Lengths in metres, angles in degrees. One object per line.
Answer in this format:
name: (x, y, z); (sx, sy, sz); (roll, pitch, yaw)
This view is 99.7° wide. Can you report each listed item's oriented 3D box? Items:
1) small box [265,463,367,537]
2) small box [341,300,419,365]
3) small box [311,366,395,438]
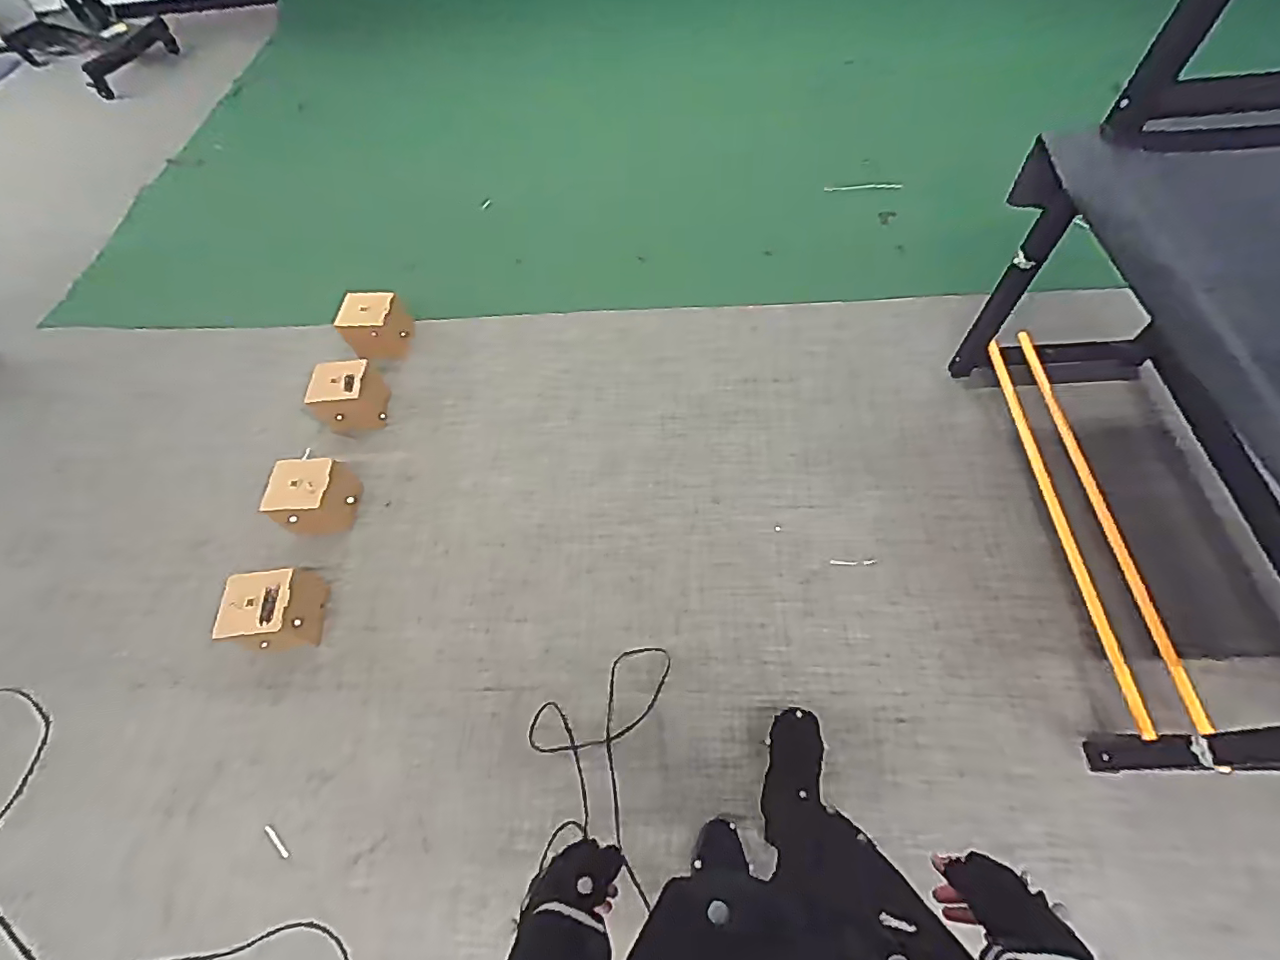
small box: (-0.957, 0.064, 1.613); (0.179, 0.176, 0.168); (-2, 60, 3)
small box: (-0.940, -0.535, 1.972); (0.179, 0.176, 0.168); (0, 60, 4)
small box: (-0.949, -0.257, 1.806); (0.179, 0.176, 0.168); (-5, 59, 3)
